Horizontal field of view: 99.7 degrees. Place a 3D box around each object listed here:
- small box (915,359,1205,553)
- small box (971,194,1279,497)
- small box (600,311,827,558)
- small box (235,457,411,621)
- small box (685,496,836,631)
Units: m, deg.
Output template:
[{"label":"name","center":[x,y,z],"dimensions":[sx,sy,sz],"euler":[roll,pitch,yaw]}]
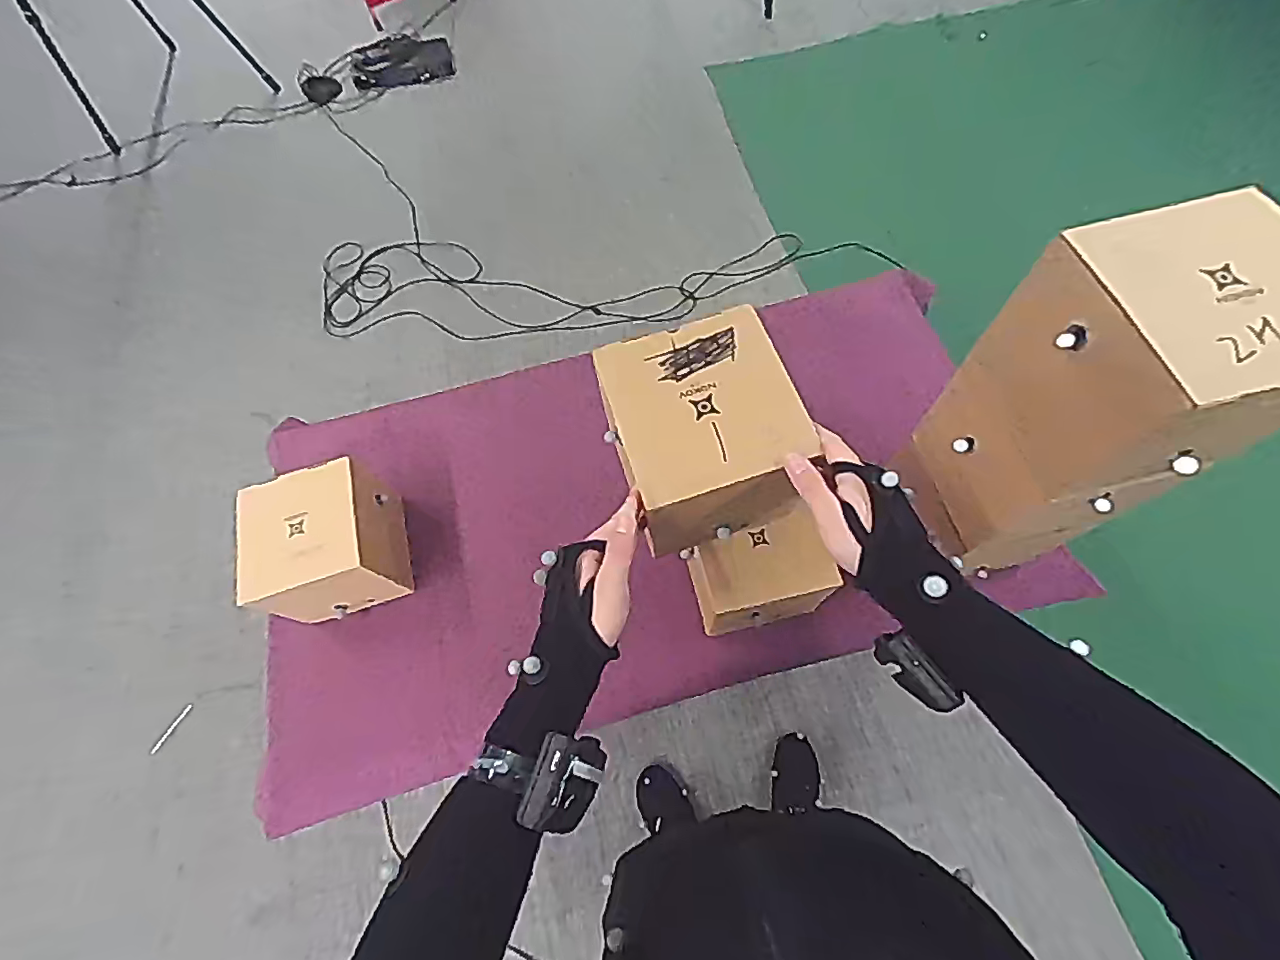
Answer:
[{"label":"small box","center":[0.451,-0.035,0.622],"dimensions":[0.168,0.176,0.179],"euler":[-12,64,0]},{"label":"small box","center":[0.436,-0.107,0.474],"dimensions":[0.168,0.176,0.179],"euler":[-13,66,0]},{"label":"small box","center":[0.066,-0.038,0.566],"dimensions":[0.168,0.176,0.179],"euler":[-17,68,-3]},{"label":"small box","center":[-0.468,0.095,0.816],"dimensions":[0.168,0.176,0.179],"euler":[-17,67,-3]},{"label":"small box","center":[0.152,0.106,0.765],"dimensions":[0.168,0.176,0.179],"euler":[-13,64,-1]}]
